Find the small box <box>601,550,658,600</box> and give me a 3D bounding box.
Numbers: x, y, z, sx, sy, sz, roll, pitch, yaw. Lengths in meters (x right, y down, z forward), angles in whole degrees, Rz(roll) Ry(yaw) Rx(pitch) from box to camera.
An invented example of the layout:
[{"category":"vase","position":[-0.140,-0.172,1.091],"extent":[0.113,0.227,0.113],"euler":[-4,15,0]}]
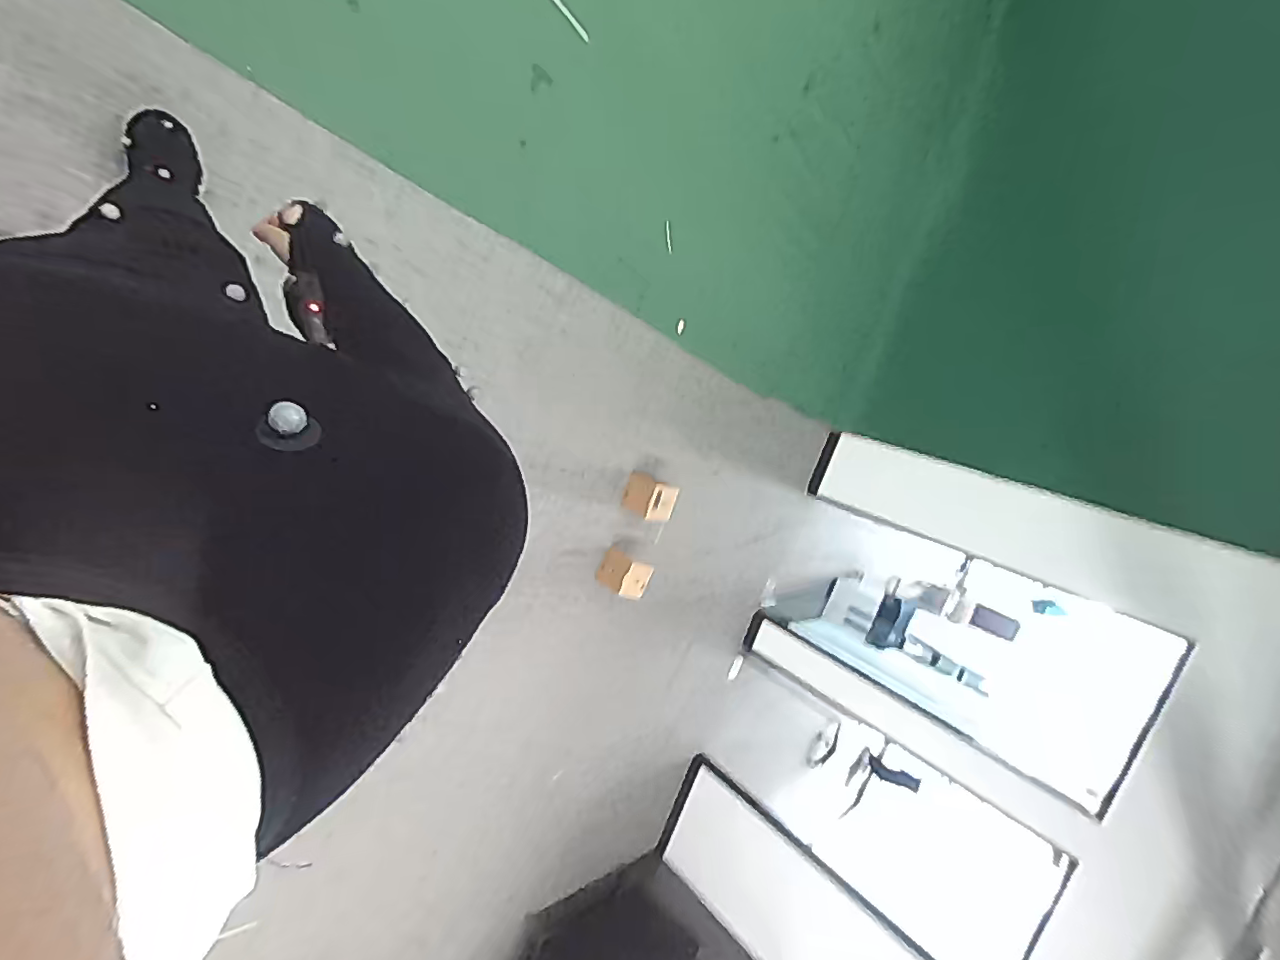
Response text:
[{"category":"small box","position":[-0.055,0.446,2.555],"extent":[0.179,0.176,0.168],"euler":[26,91,-48]}]
